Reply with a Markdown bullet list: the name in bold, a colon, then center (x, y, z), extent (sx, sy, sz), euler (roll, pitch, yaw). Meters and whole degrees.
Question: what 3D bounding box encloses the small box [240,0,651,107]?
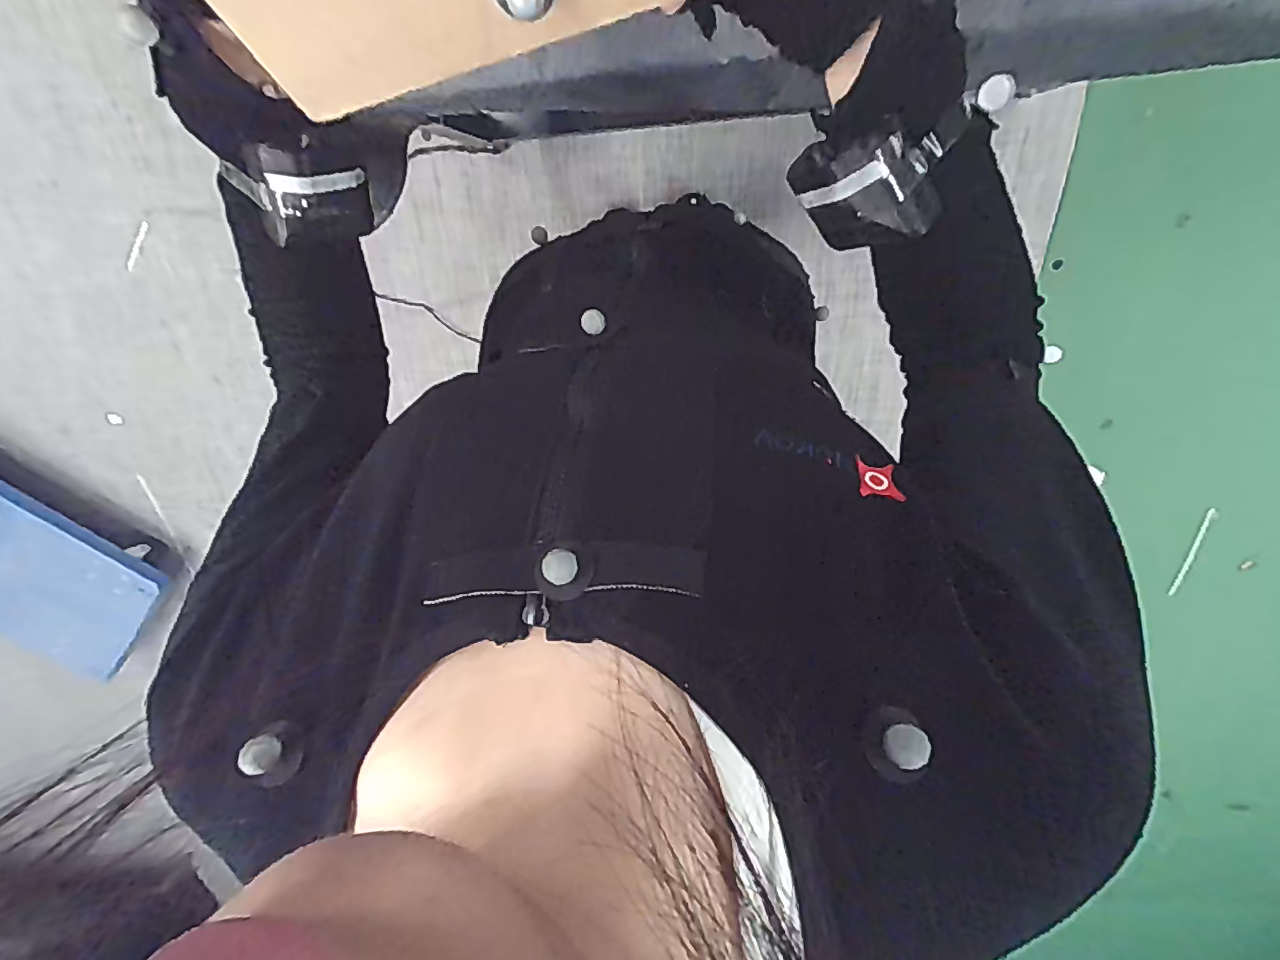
- **small box**: center (-0.078, -0.268, 0.153), extent (0.168, 0.176, 0.179), euler (-13, 74, 9)
